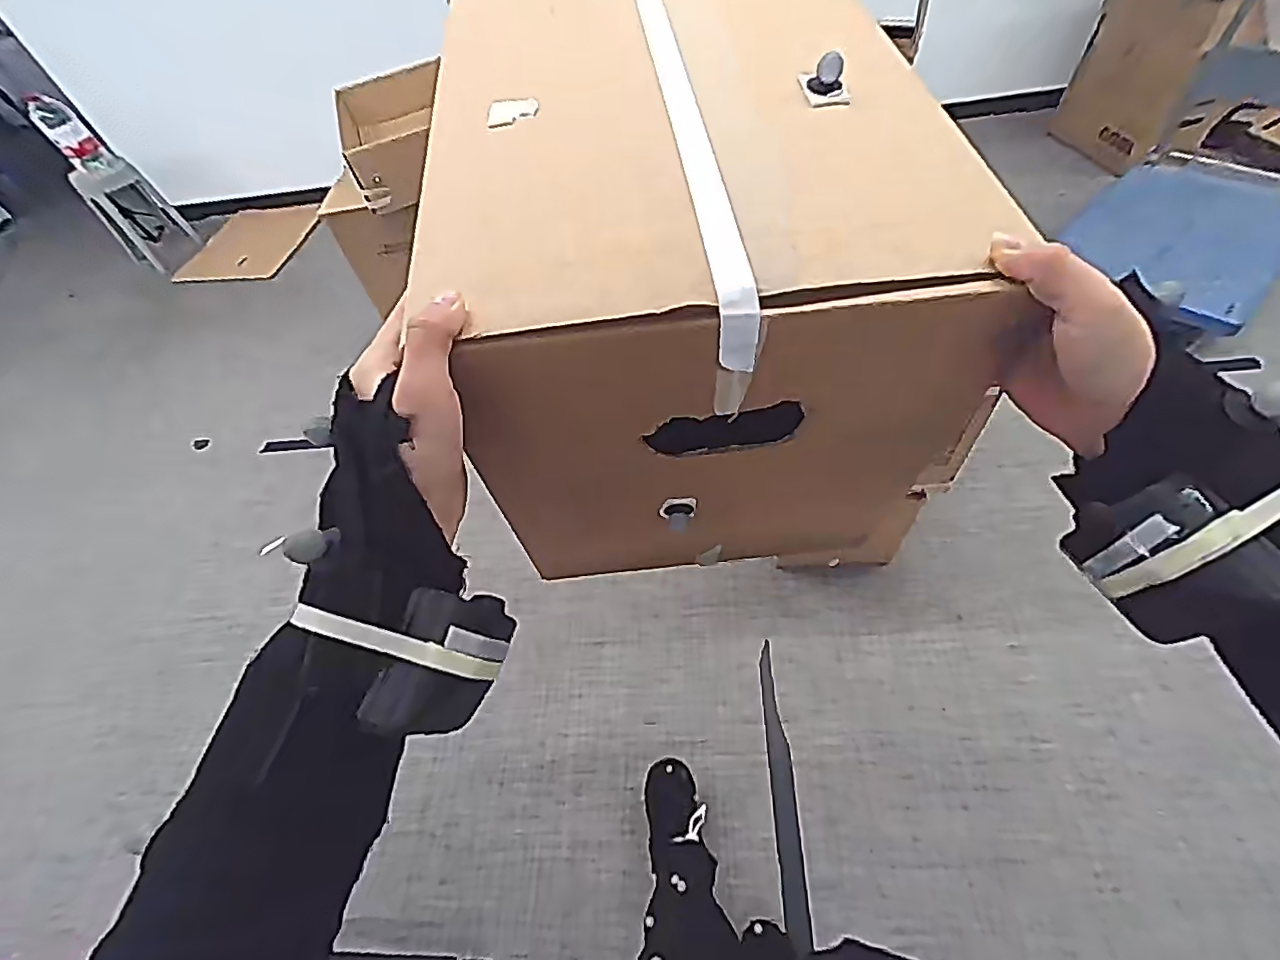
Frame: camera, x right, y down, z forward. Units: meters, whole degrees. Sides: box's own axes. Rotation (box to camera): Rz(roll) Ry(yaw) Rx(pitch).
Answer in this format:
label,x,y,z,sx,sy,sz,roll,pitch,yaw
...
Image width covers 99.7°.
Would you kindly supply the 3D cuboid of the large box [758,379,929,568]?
label,x,y,z,sx,sy,sz,roll,pitch,yaw
large box,0.509,-0.015,1.458,0.320,0.320,0.408,-4,54,6
